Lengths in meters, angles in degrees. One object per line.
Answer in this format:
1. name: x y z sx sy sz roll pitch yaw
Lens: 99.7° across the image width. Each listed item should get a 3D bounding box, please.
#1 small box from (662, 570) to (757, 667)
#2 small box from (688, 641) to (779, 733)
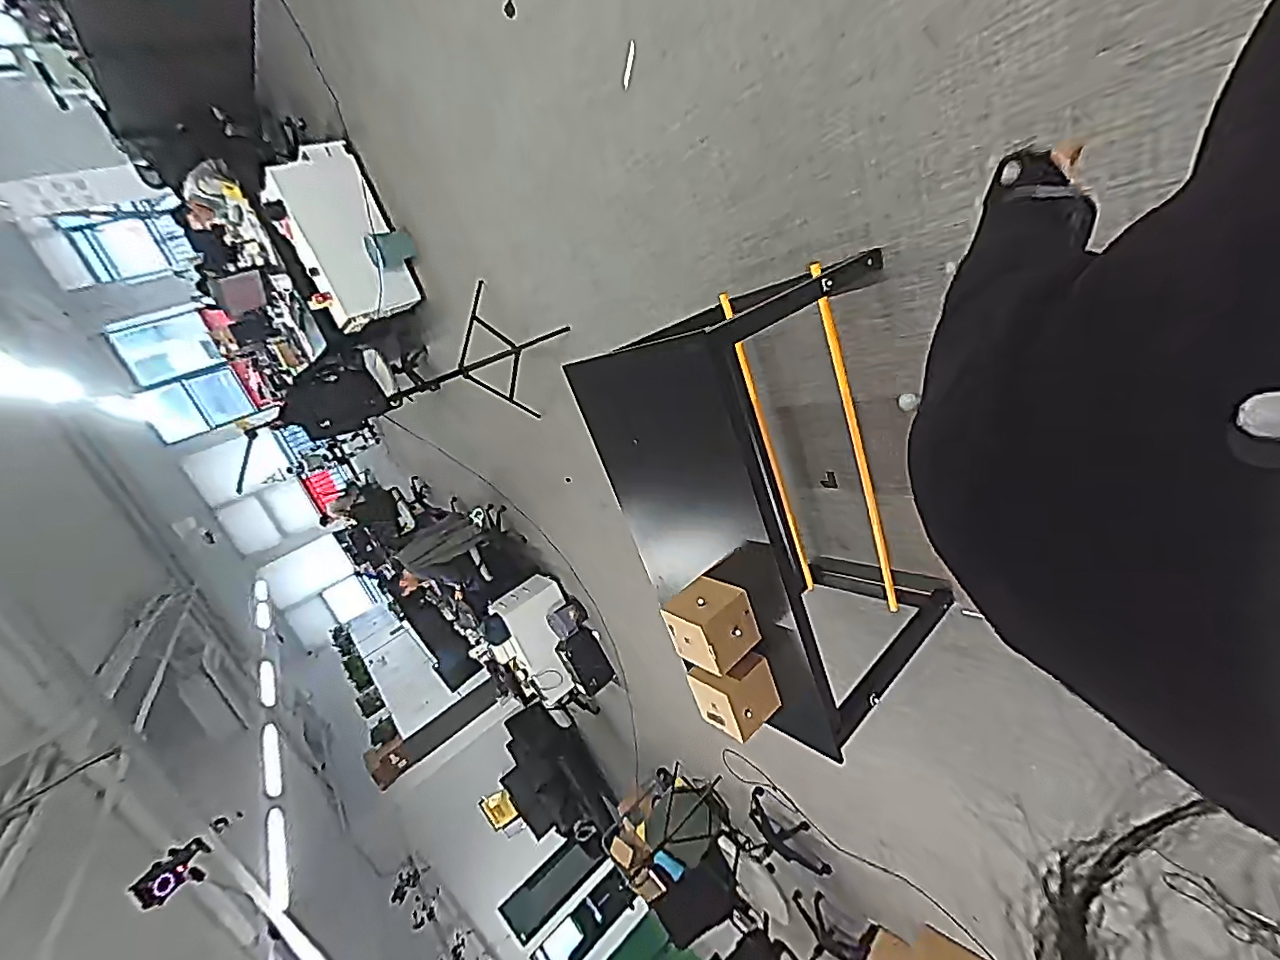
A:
1. small box: 0.195 0.366 1.465 0.179 0.176 0.168 7 124 53
2. small box: 0.271 0.571 1.544 0.168 0.176 0.179 6 122 54
